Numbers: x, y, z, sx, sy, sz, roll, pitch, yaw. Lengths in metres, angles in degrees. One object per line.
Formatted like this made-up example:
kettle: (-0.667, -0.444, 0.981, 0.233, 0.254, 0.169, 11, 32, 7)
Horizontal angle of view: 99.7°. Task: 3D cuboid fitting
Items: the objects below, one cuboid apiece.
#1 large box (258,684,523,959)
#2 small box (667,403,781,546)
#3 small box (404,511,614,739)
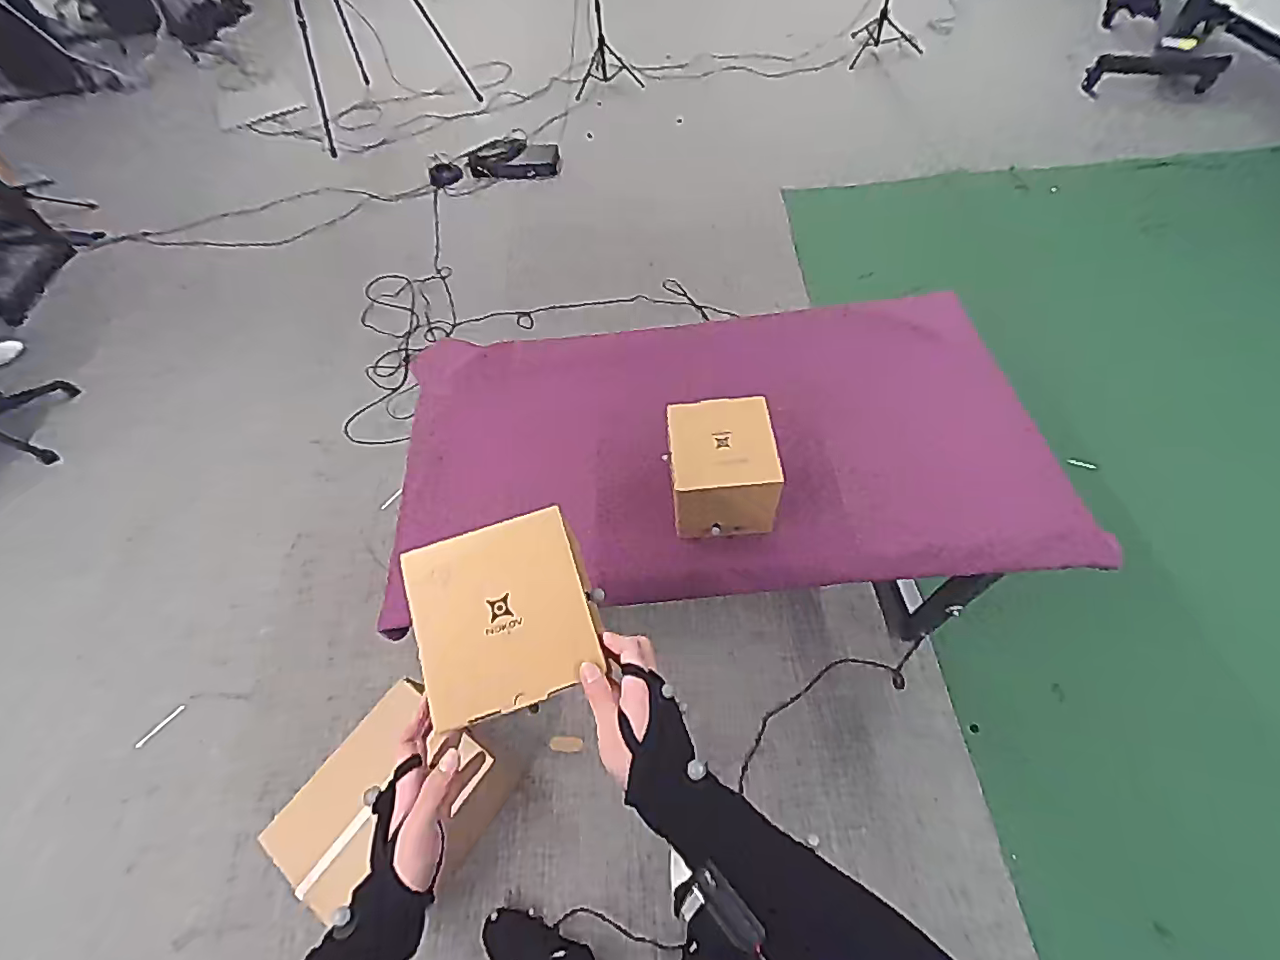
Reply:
large box: (-0.546, 0.771, 1.262, 0.320, 0.320, 0.408, 30, 63, 21)
small box: (0.133, -0.007, 0.915, 0.168, 0.176, 0.179, -5, 56, 3)
small box: (-0.130, 0.155, 0.586, 0.168, 0.176, 0.179, -17, 74, -7)
